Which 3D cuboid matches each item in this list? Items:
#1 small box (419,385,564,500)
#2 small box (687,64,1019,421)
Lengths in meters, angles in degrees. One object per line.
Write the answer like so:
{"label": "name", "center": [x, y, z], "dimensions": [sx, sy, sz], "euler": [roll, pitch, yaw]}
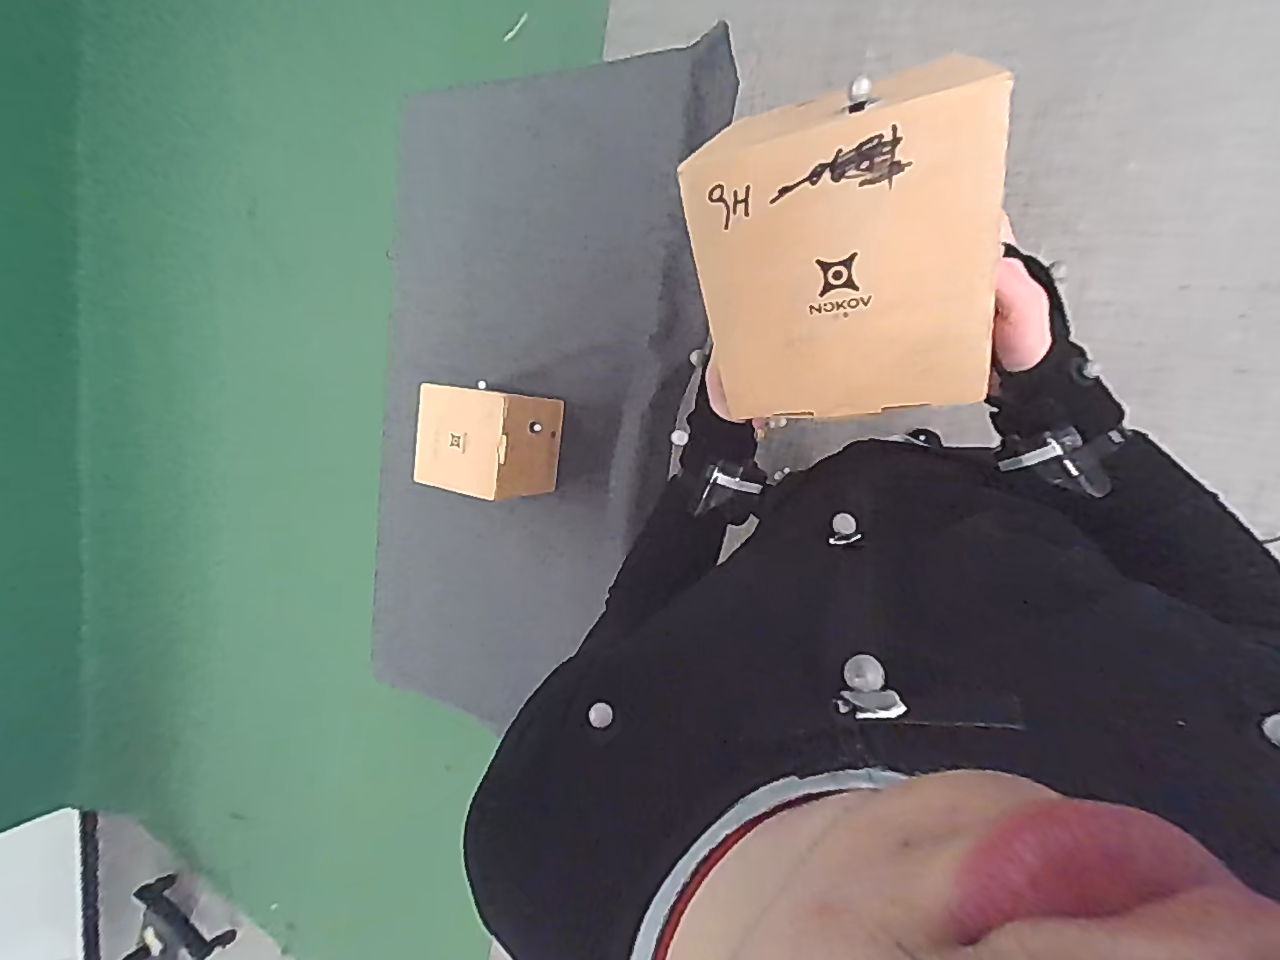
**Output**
{"label": "small box", "center": [-0.252, -0.067, 0.942], "dimensions": [0.179, 0.176, 0.168], "euler": [11, 98, 24]}
{"label": "small box", "center": [0.148, -0.163, 0.385], "dimensions": [0.168, 0.176, 0.179], "euler": [-2, 127, 24]}
